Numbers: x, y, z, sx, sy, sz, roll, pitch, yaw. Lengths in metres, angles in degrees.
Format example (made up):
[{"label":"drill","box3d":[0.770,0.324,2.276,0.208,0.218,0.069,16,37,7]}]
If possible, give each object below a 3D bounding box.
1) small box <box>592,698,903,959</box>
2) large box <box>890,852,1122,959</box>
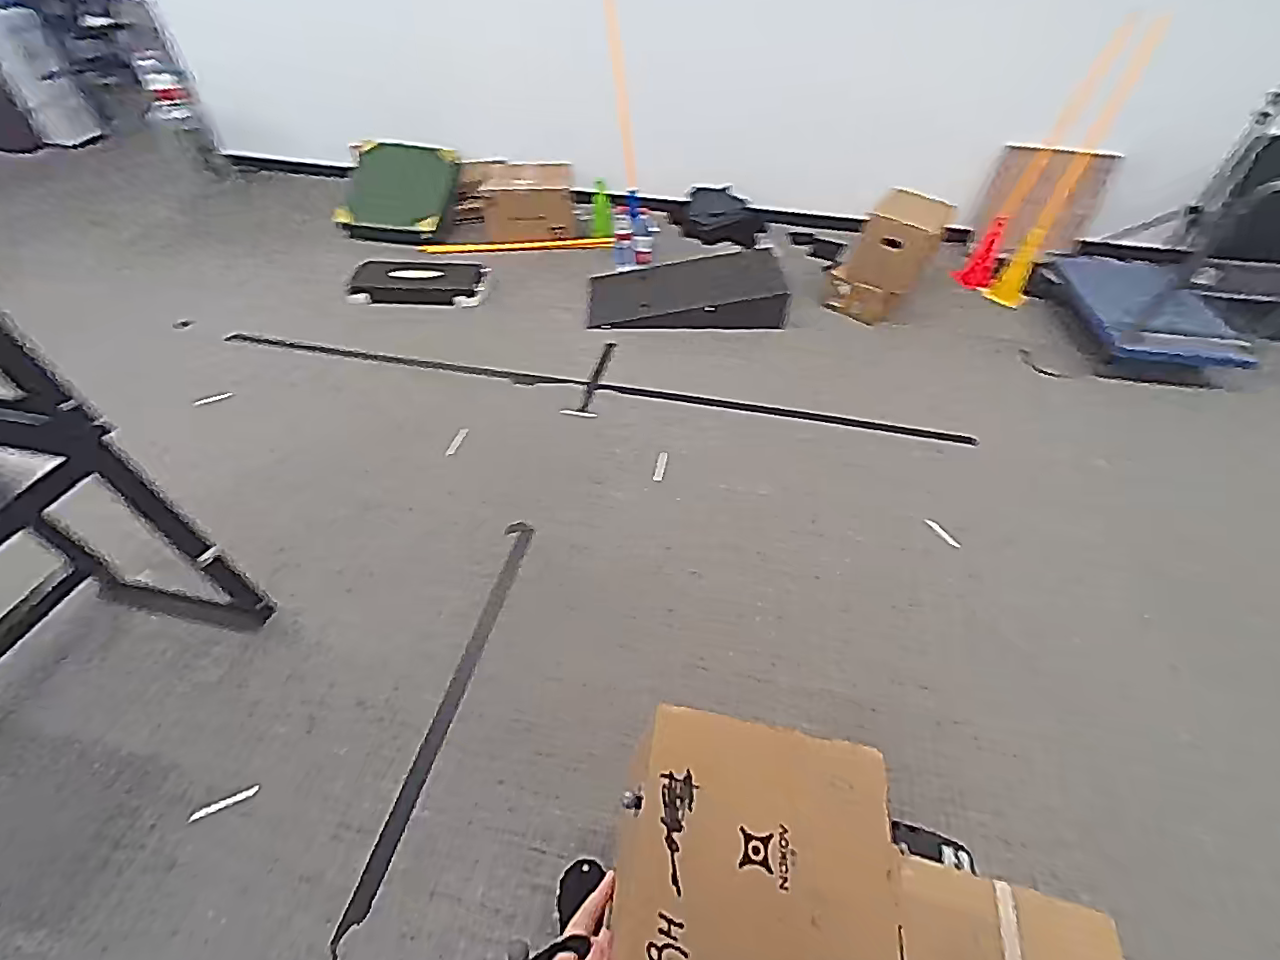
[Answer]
[{"label":"small box","box3d":[0.069,0.290,0.413,0.179,0.176,0.168,12,50,-1]},{"label":"large box","box3d":[0.489,0.848,0.789,0.320,0.320,0.408,12,47,9]}]
